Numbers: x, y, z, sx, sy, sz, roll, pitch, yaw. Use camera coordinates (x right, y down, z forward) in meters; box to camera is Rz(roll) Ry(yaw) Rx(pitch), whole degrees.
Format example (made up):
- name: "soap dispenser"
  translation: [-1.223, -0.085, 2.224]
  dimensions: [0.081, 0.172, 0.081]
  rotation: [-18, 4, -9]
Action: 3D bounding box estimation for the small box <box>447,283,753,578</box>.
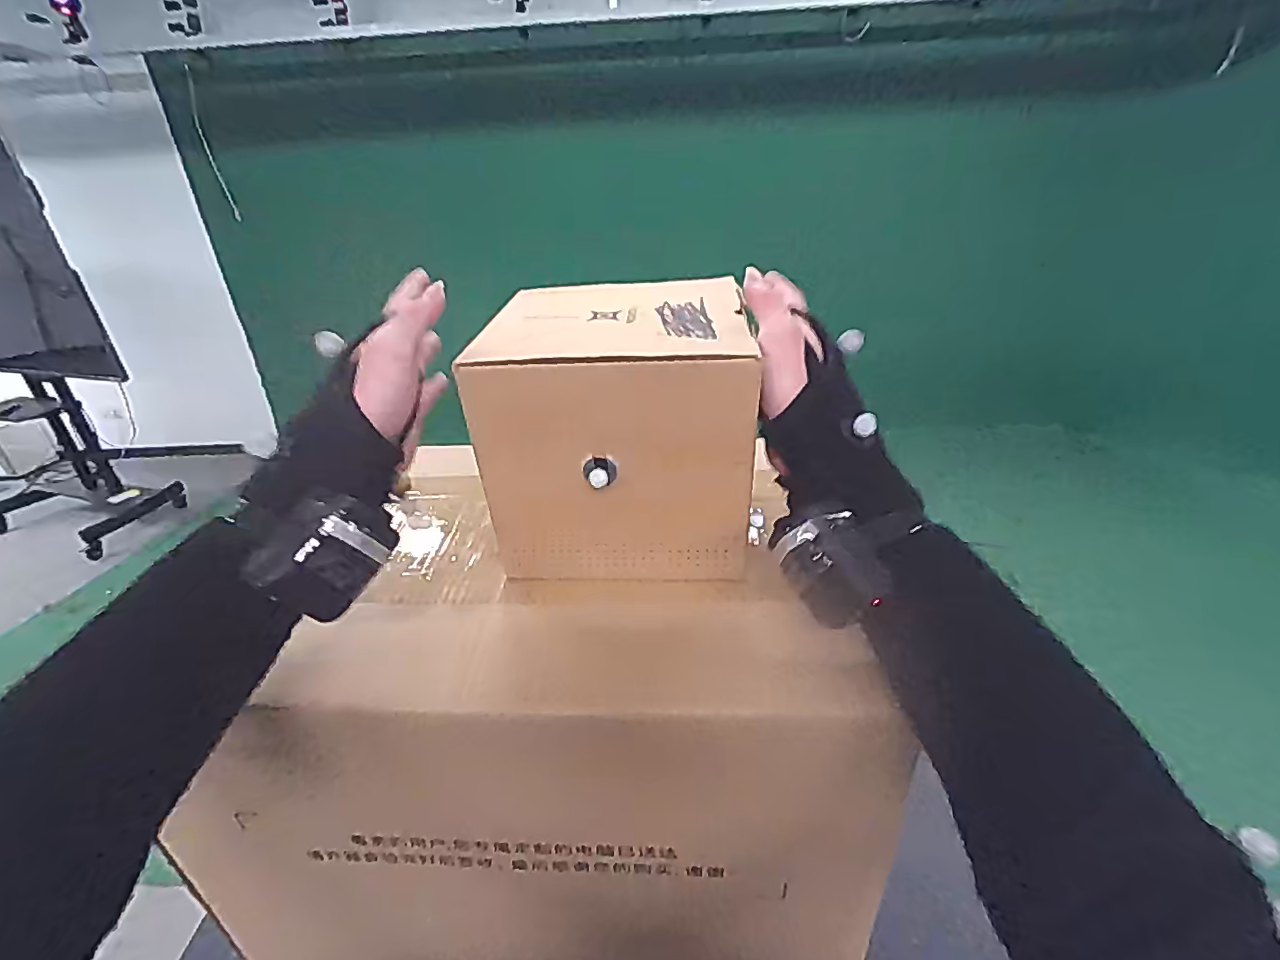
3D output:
- name: "small box"
  translation: [-0.014, -0.040, 0.411]
  dimensions: [0.179, 0.176, 0.168]
  rotation: [-1, 33, 5]
